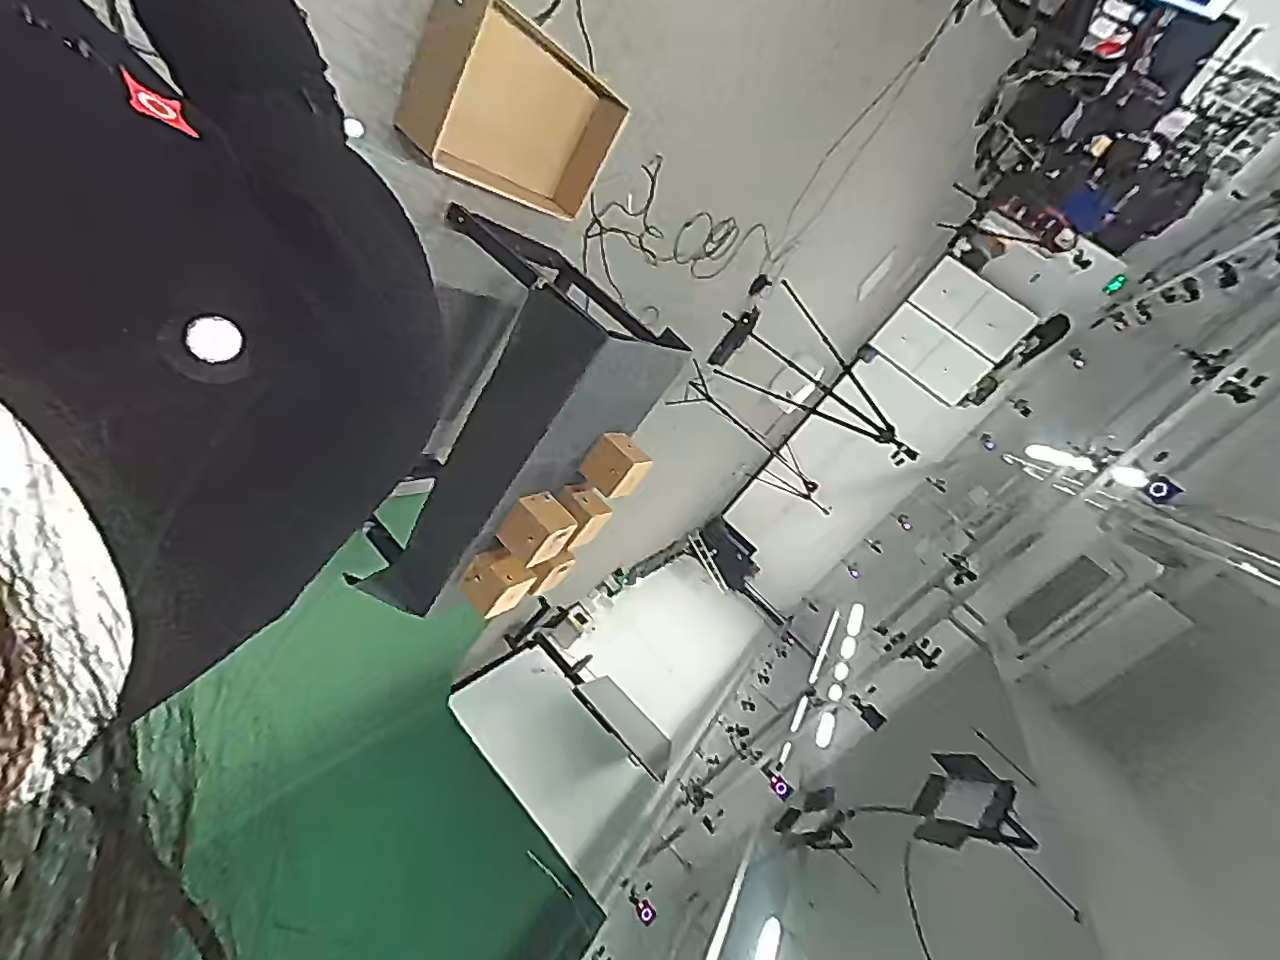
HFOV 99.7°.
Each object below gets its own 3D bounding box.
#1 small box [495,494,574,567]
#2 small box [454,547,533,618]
[{"bbox_3d":[-0.366,0.162,1.856,0.179,0.176,0.168,-53,164,24],"label":"small box"},{"bbox_3d":[-0.523,0.358,1.931,0.168,0.176,0.179,-52,164,18],"label":"small box"}]
